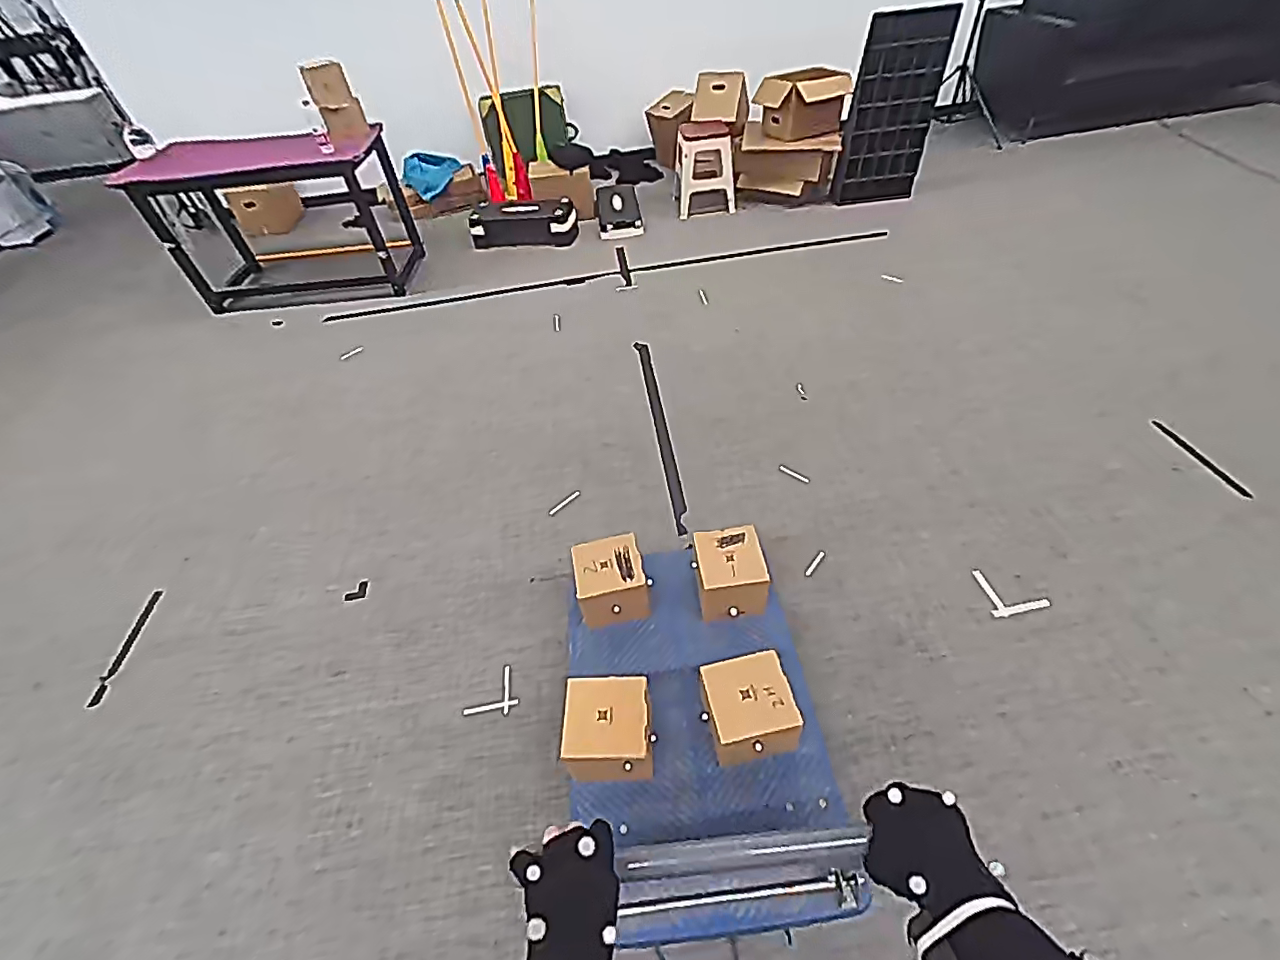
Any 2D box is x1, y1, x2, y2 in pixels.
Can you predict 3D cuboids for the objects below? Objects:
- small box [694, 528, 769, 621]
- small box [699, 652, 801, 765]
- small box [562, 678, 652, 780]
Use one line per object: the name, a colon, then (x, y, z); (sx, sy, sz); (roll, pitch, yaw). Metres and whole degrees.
small box: (0.236, 0.253, 1.441); (0.168, 0.176, 0.179); (-8, 48, 0)
small box: (0.239, 0.511, 1.202); (0.179, 0.176, 0.168); (-12, 47, -3)
small box: (-0.065, 0.555, 1.201); (0.179, 0.176, 0.168); (-3, 47, 3)
